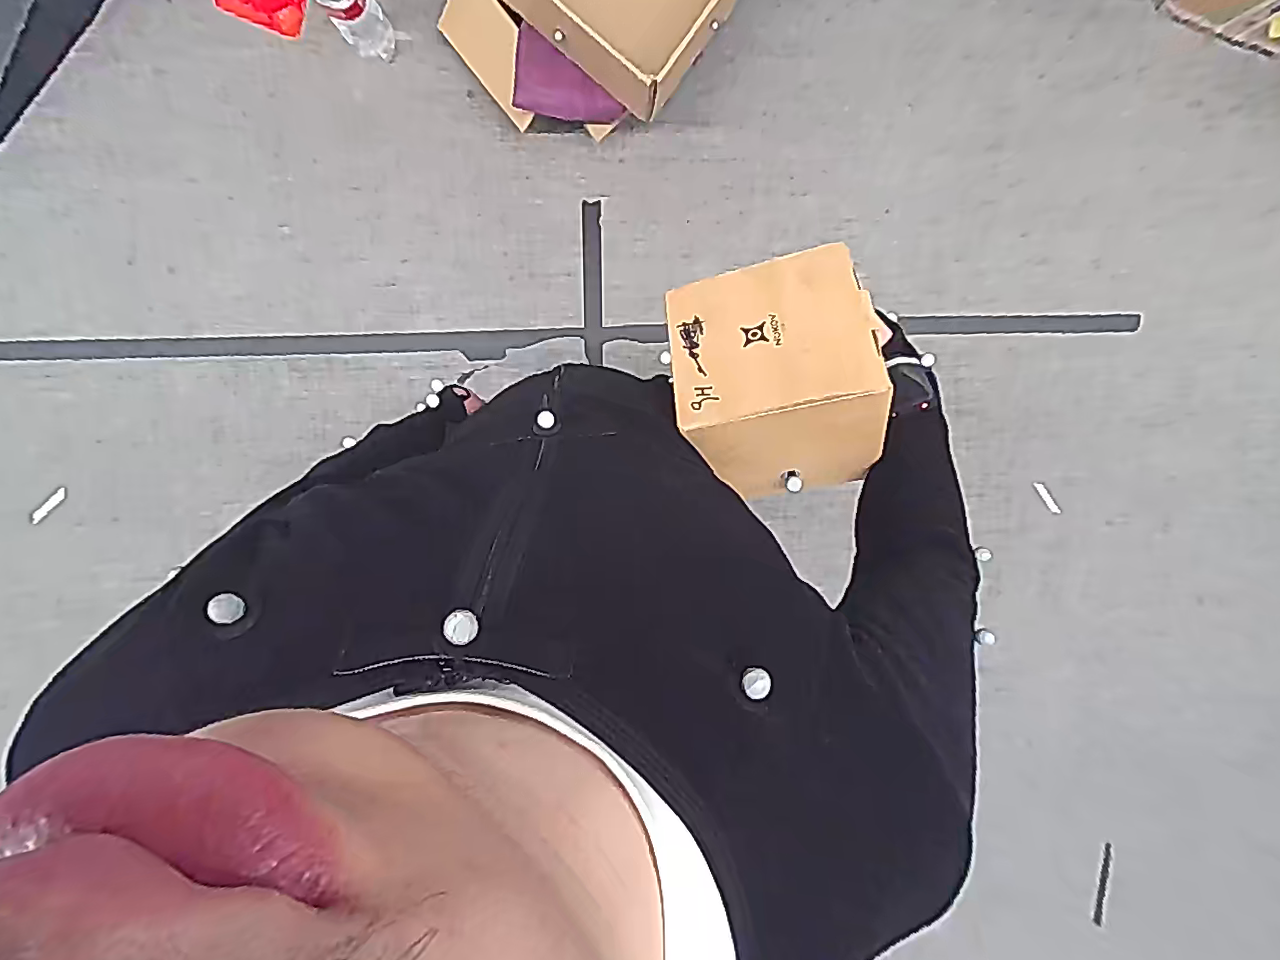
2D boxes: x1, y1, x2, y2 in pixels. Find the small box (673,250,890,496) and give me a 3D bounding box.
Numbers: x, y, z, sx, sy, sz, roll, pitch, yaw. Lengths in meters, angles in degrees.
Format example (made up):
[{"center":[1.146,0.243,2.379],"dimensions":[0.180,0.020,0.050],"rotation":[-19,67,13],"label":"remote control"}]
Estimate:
[{"center":[0.142,-0.098,0.564],"dimensions":[0.179,0.176,0.168],"rotation":[-10,61,15],"label":"small box"}]
